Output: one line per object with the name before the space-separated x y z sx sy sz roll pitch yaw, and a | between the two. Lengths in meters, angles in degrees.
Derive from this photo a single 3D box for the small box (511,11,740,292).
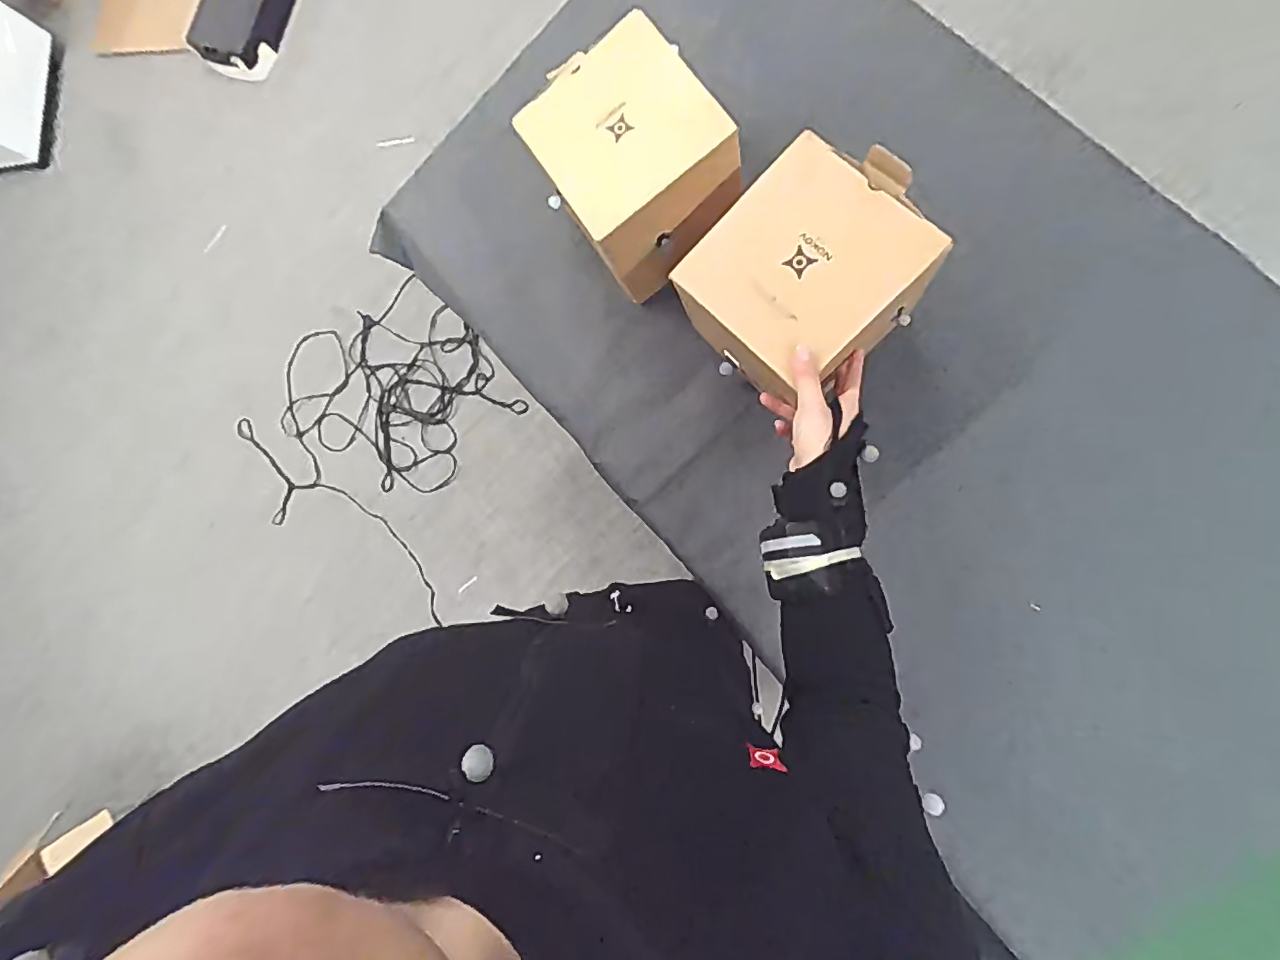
small box | -0.002 -0.337 0.600 0.168 0.176 0.179 -36 78 9

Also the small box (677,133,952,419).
small box | 0.164 -0.186 0.548 0.179 0.176 0.168 -46 77 7
